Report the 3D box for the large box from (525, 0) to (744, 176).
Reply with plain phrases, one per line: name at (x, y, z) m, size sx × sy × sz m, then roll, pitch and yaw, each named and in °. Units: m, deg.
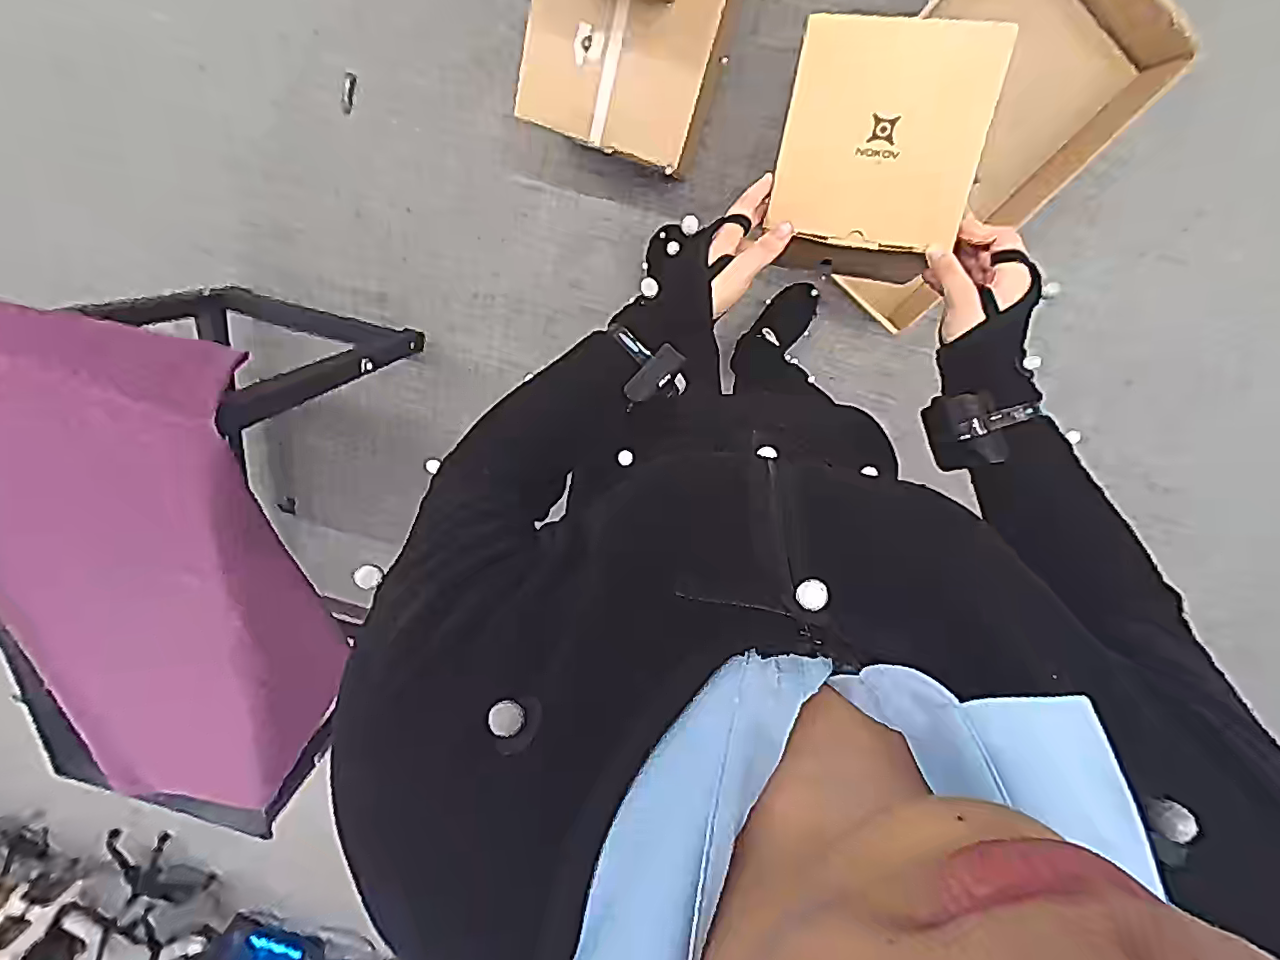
large box at (0.010, -0.836, 1.006) m, size 0.320 × 0.320 × 0.408 m, roll 19°, pitch 119°, yaw 2°
